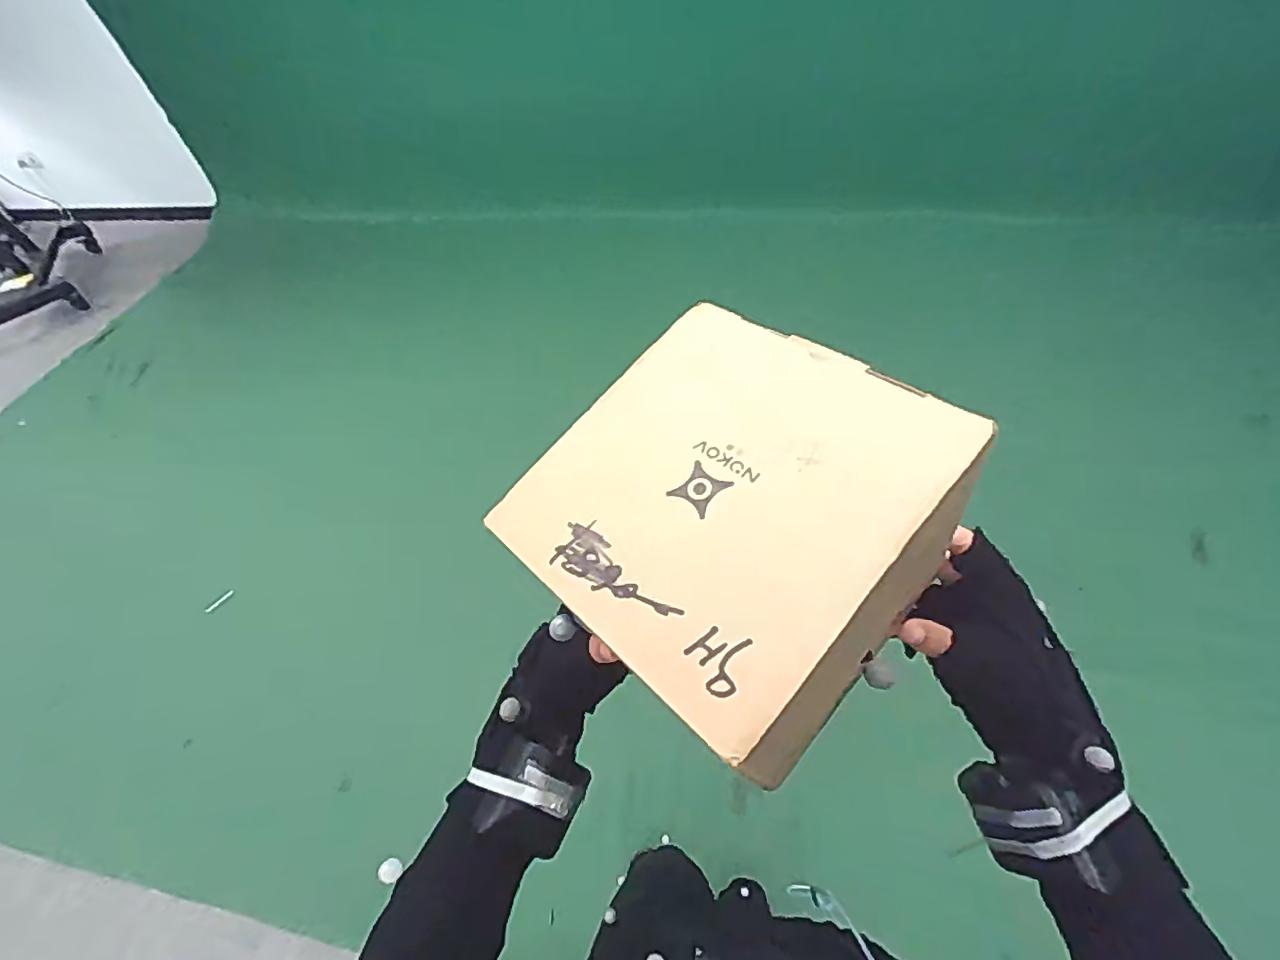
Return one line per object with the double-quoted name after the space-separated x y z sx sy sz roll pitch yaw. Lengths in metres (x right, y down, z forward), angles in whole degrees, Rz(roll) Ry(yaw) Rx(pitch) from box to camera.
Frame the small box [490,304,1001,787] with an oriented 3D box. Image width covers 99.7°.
0.057 0.040 0.309 0.168 0.176 0.179 35 74 33 "small box"
